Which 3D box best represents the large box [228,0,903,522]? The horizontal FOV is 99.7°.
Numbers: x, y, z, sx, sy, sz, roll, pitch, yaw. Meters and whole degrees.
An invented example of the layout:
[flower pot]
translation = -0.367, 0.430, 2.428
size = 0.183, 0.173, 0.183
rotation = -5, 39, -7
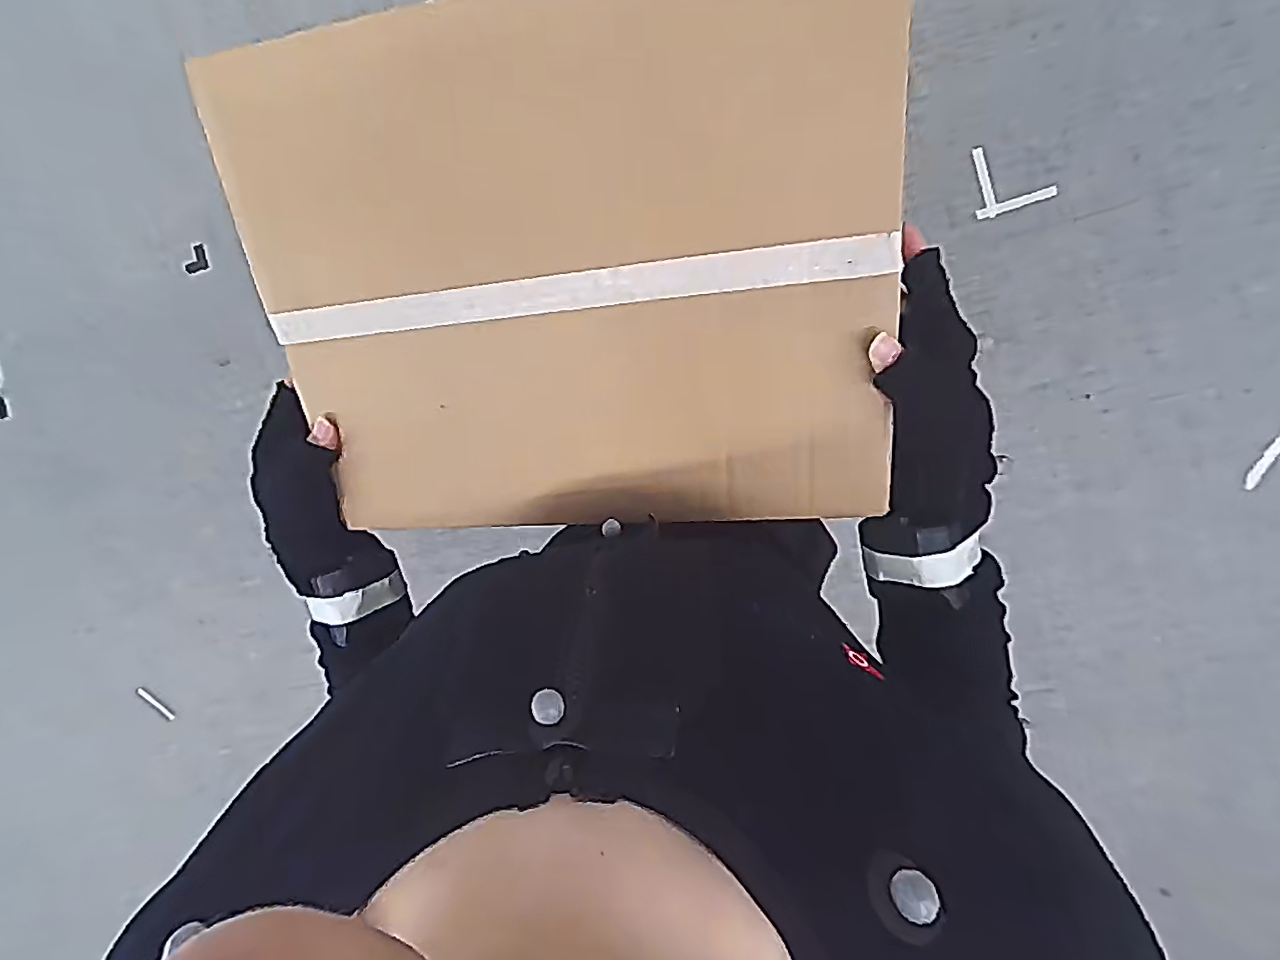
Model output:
[large box]
translation = -0.025, -0.172, 0.483
size = 0.408, 0.320, 0.320
rotation = -3, 112, 12
